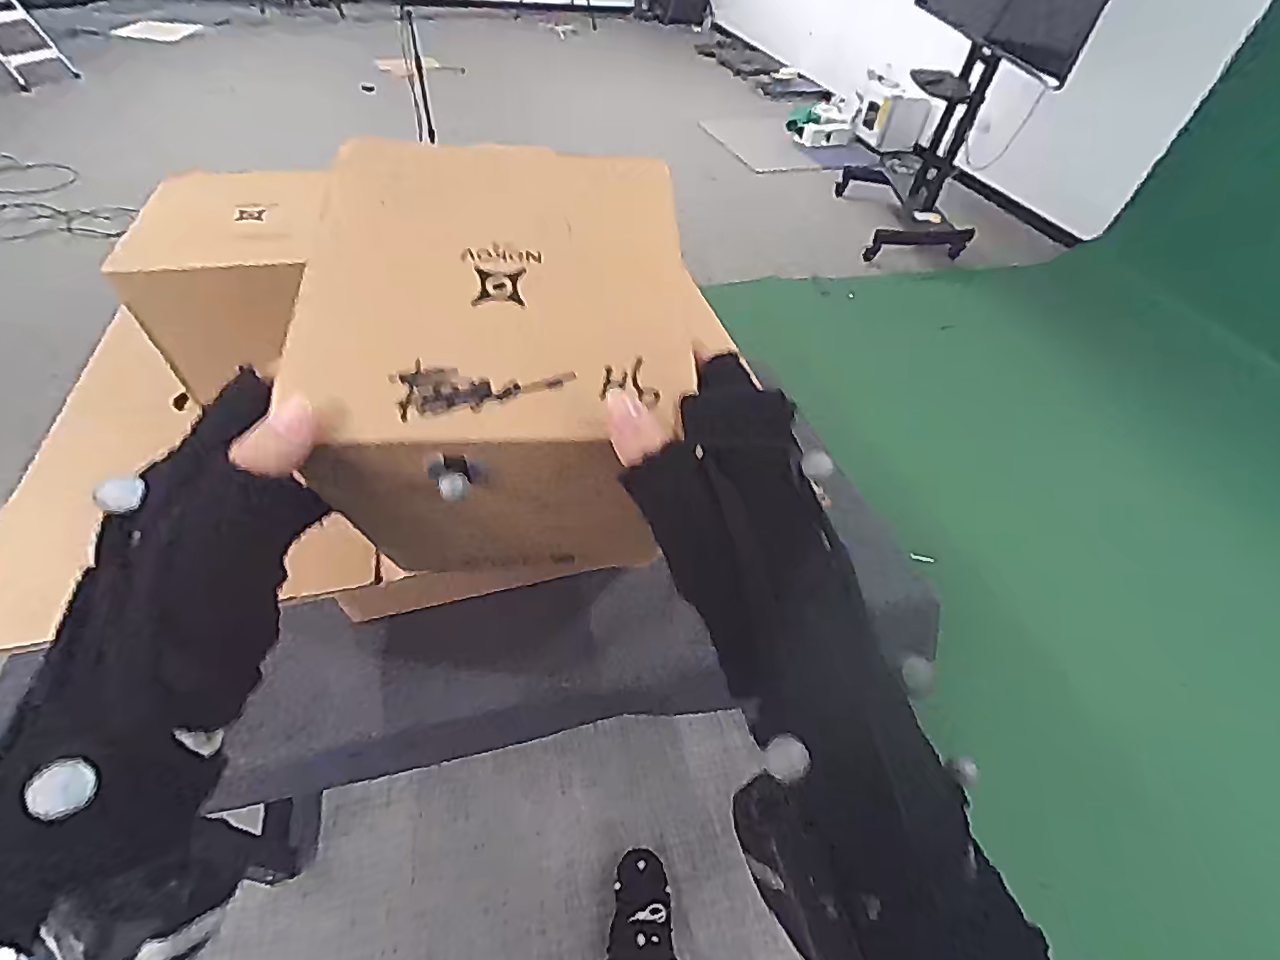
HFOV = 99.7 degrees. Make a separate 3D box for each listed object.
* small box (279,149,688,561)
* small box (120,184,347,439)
[{"bbox_3d":[-0.071,-0.062,0.326,0.168,0.176,0.179,-1,63,-5],"label":"small box"},{"bbox_3d":[-0.331,-0.165,0.526,0.168,0.176,0.179,-9,52,-12],"label":"small box"}]
